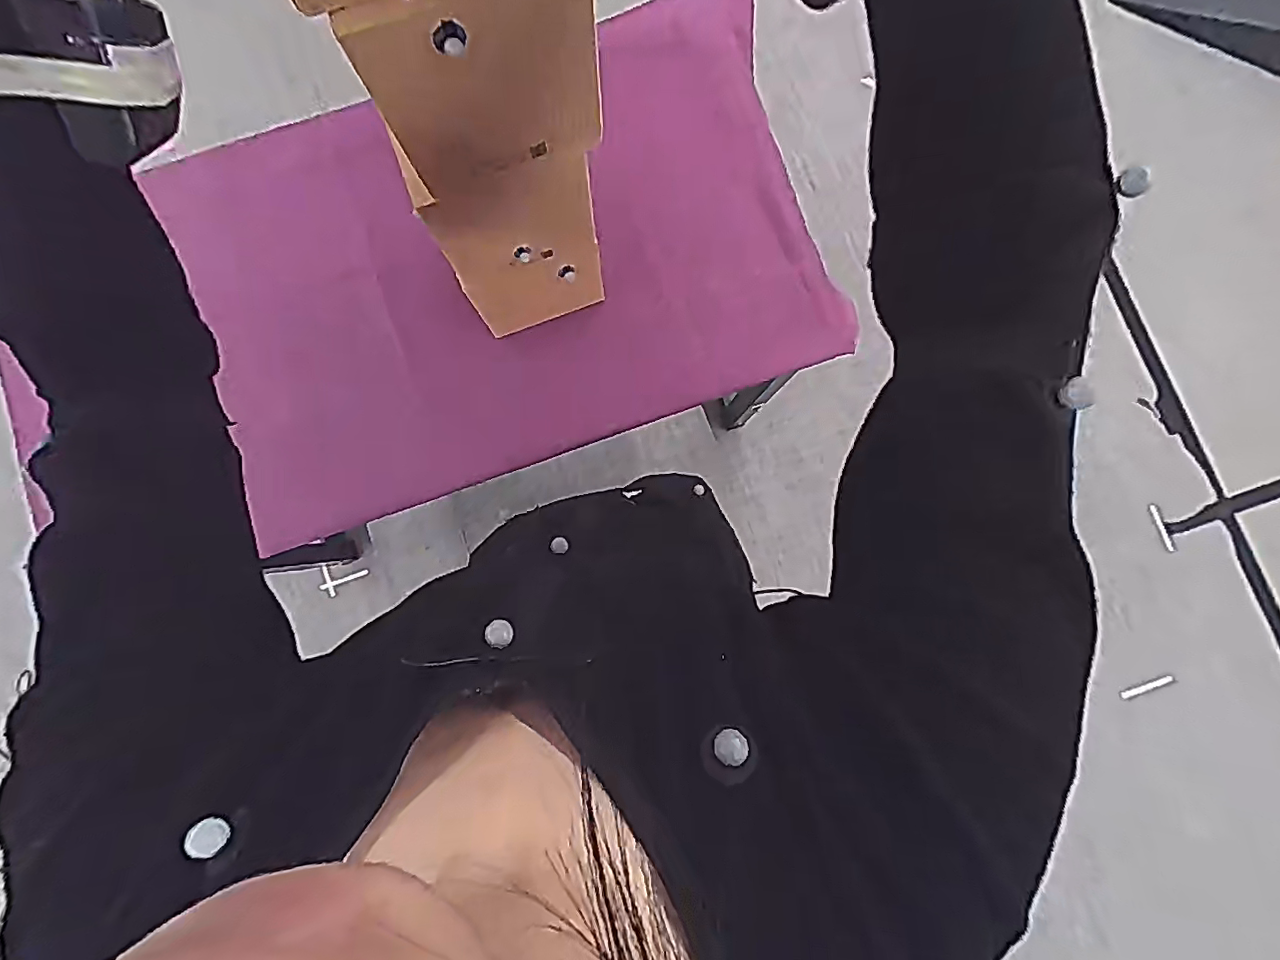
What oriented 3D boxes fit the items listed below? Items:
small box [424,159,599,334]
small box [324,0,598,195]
[{"bbox_3d":[-0.161,-0.327,0.740,0.179,0.176,0.168,-21,84,-2],"label":"small box"},{"bbox_3d":[-0.138,-0.366,0.415,0.168,0.176,0.179,-21,85,-3],"label":"small box"}]
